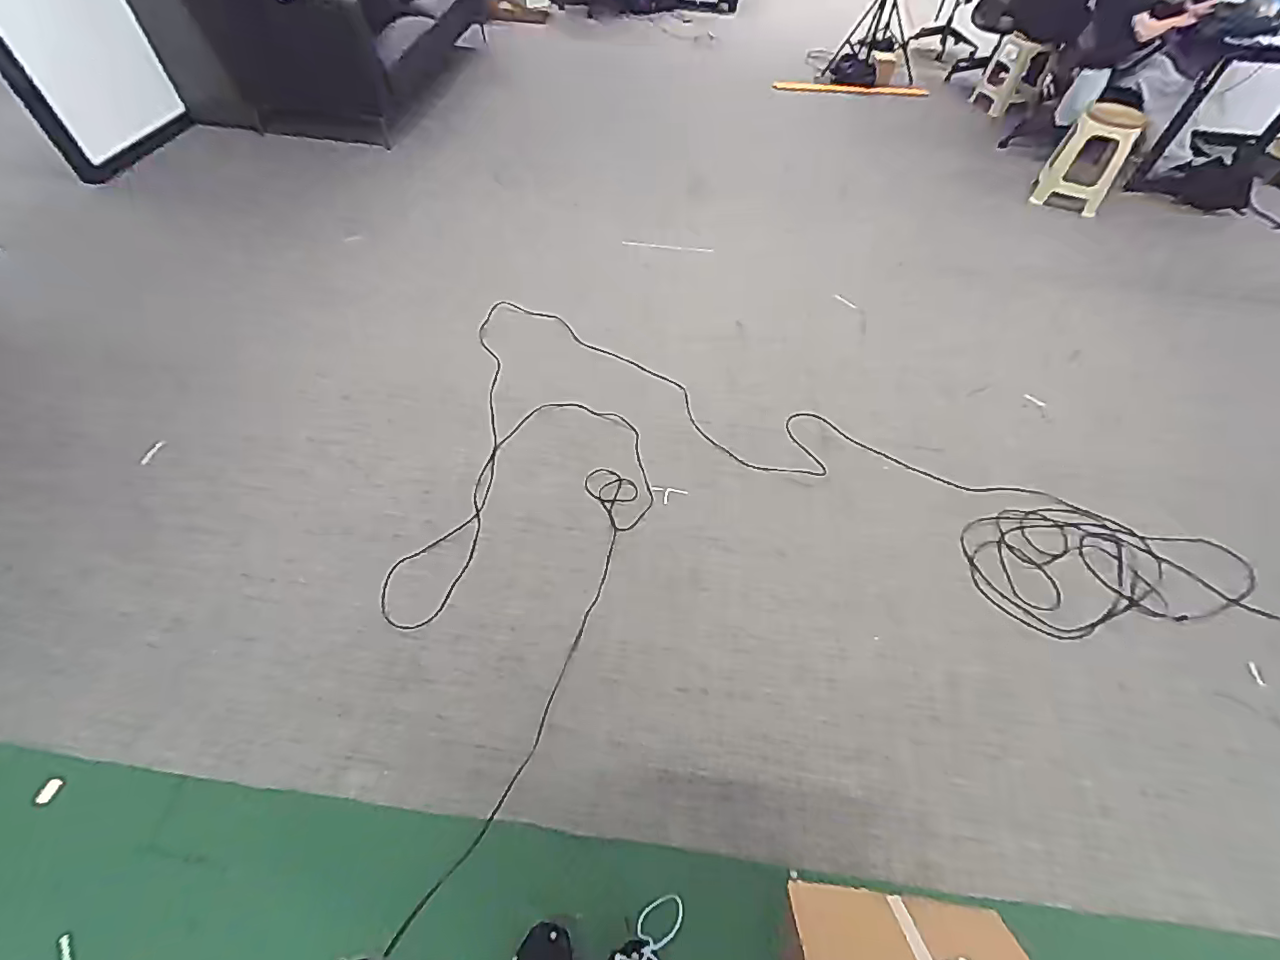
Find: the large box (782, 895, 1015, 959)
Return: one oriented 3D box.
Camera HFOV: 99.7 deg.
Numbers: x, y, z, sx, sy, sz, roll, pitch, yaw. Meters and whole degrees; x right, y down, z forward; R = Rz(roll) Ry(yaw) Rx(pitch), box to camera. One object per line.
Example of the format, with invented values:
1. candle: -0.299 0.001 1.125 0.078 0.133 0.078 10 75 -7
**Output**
1. large box: 0.349 0.803 0.627 0.320 0.408 0.320 6 90 5
